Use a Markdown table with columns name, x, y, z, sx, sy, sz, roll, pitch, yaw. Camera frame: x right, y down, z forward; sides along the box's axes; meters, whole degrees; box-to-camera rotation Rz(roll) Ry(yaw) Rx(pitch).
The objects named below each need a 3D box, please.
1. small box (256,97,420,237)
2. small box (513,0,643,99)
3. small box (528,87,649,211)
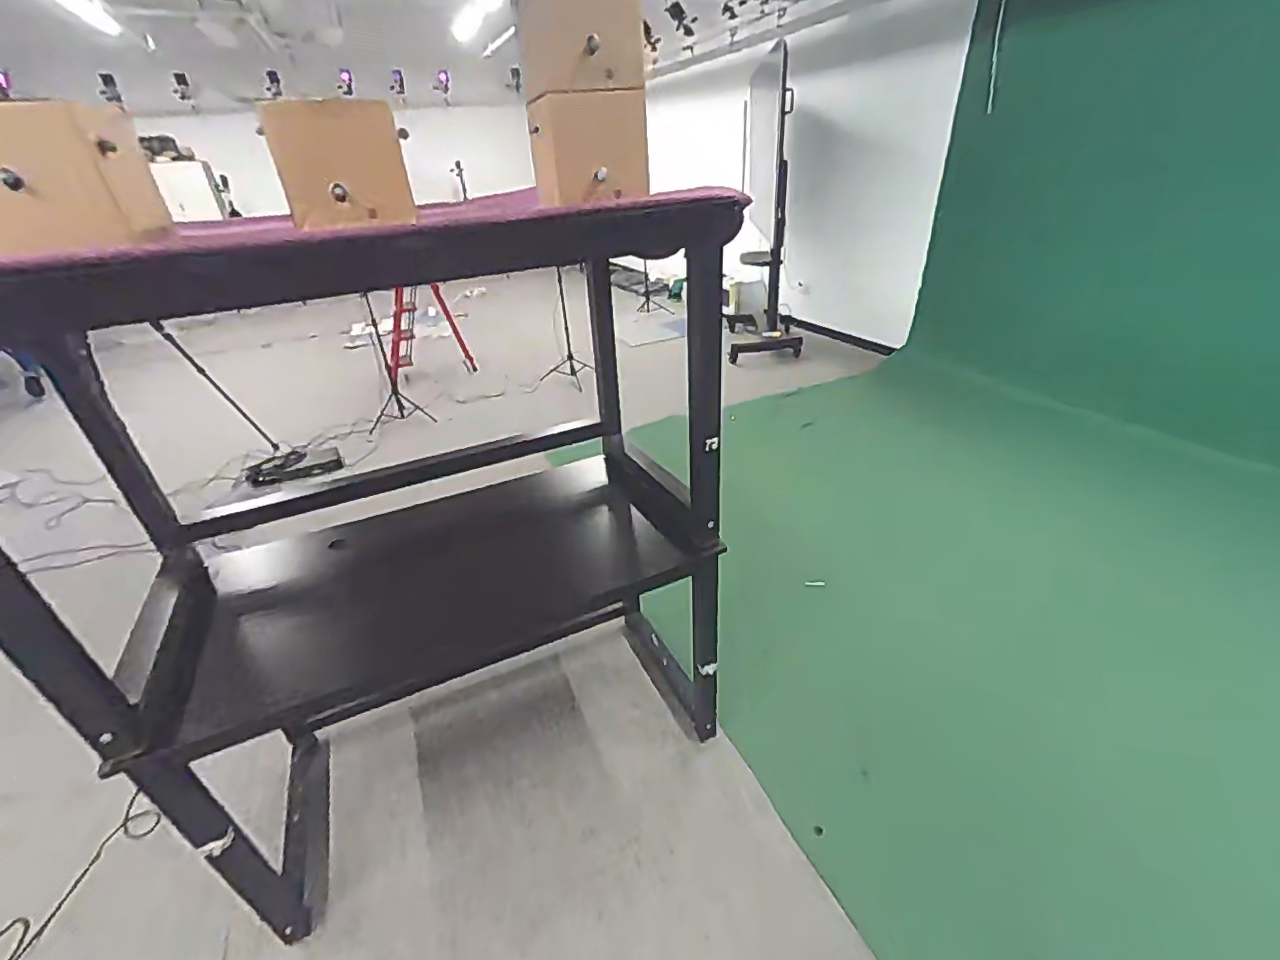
| name | x | y | z | sx | sy | sz | roll | pitch | yaw |
| --- | --- | --- | --- | --- | --- | --- | --- | --- | --- |
| small box | -0.443 | -0.470 | 0.825 | 0.168 | 0.176 | 0.179 | -14 | 31 | -16 |
| small box | -0.103 | -0.715 | 0.863 | 0.168 | 0.176 | 0.179 | -15 | 32 | -15 |
| small box | -0.091 | -0.573 | 0.946 | 0.168 | 0.176 | 0.179 | -15 | 33 | -15 |
